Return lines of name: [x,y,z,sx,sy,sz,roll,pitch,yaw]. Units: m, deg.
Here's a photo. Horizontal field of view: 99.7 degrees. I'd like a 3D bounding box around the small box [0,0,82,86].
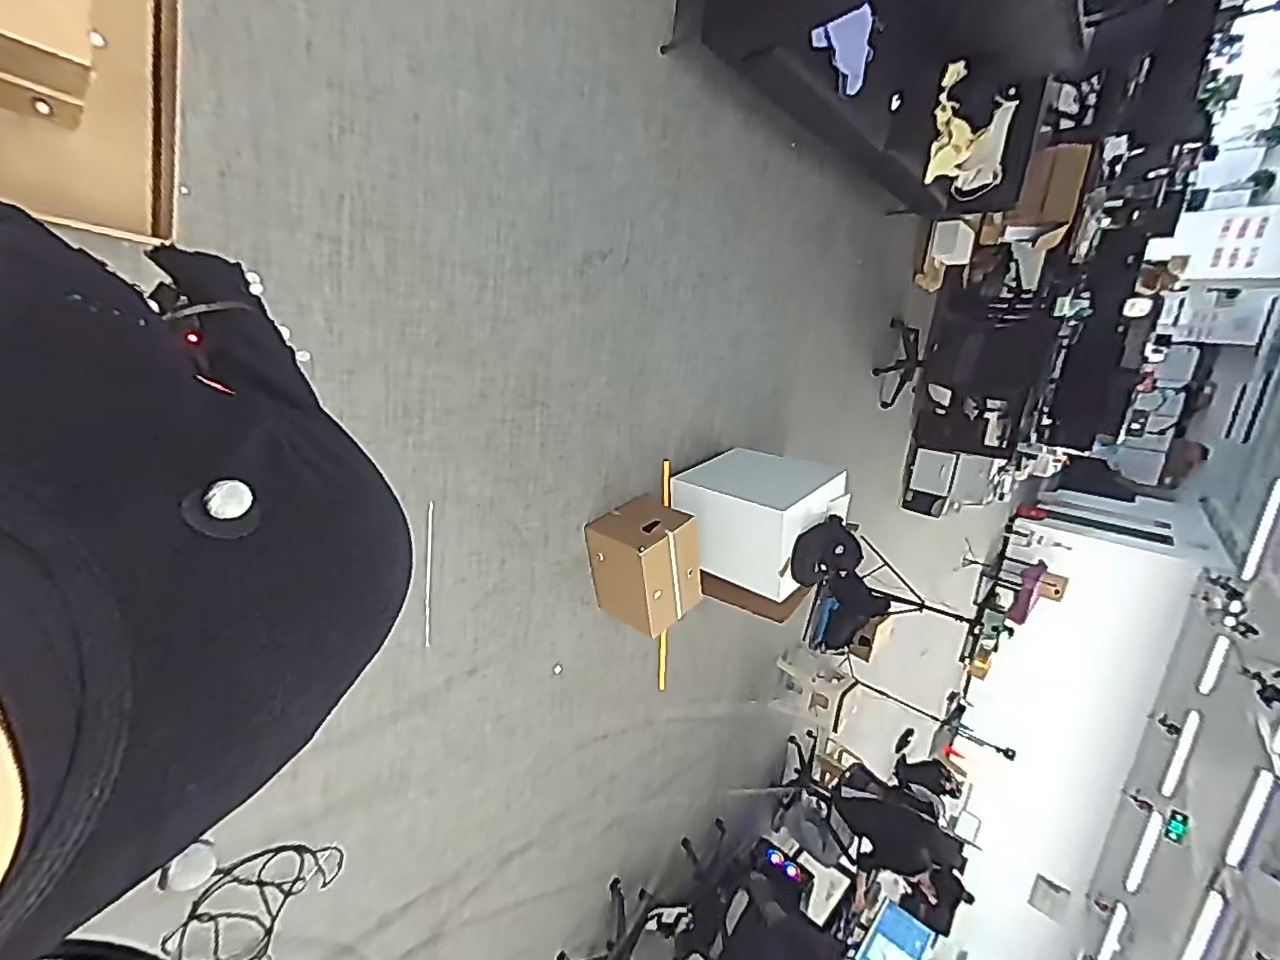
small box: [-0.846,-0.647,0.691,0.179,0.176,0.168,-4,104,-49]
